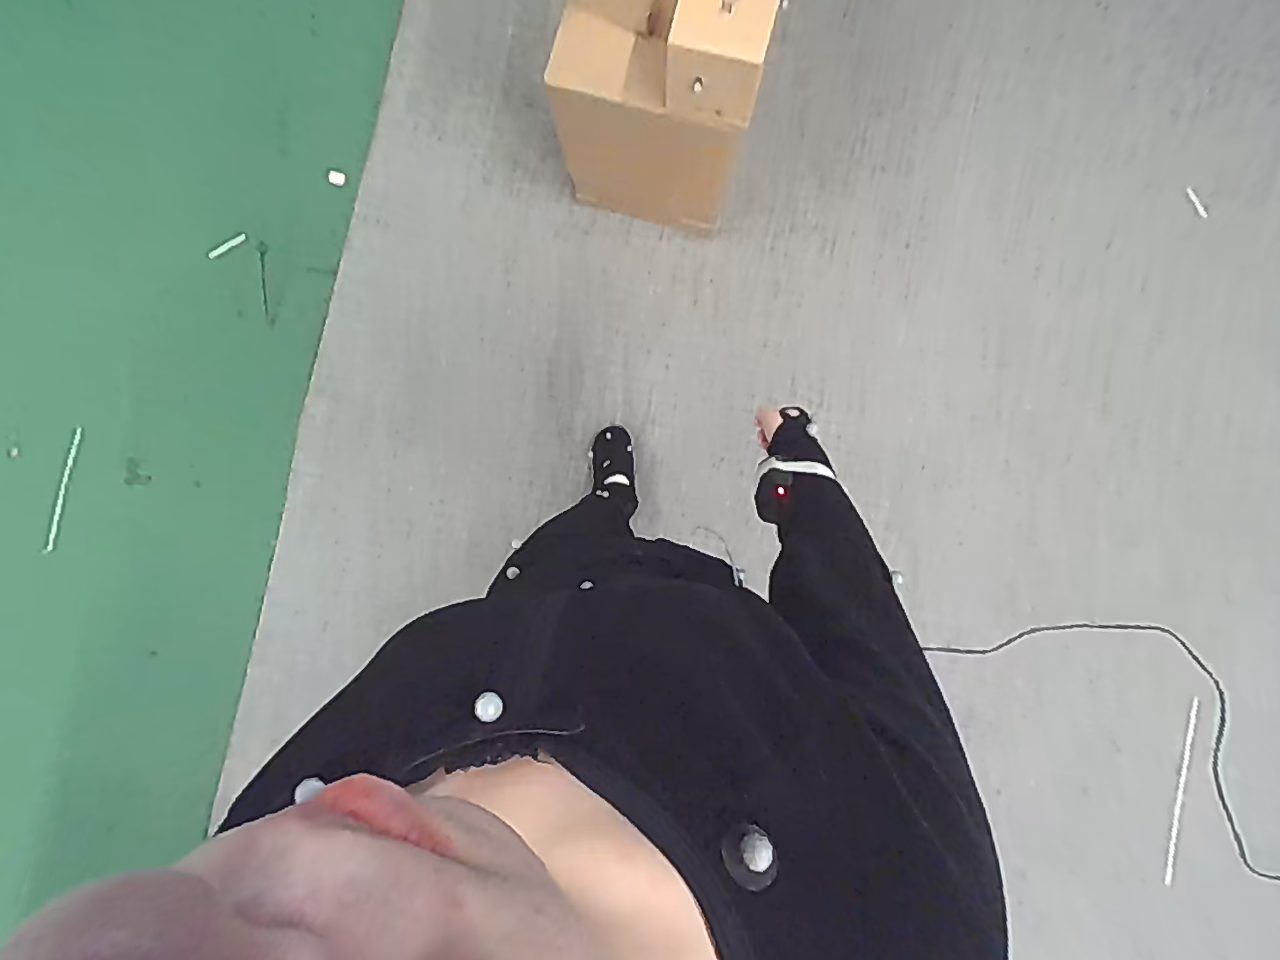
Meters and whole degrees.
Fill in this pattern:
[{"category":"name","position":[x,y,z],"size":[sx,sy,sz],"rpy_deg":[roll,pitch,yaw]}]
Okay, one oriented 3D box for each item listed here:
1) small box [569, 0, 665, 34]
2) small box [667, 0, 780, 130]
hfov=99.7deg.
[{"category":"small box","position":[-0.037,-0.985,0.999],"size":[0.179,0.176,0.168],"rpy_deg":[22,89,2]},{"category":"small box","position":[0.149,-0.782,0.982],"size":[0.168,0.176,0.179],"rpy_deg":[14,88,3]}]
